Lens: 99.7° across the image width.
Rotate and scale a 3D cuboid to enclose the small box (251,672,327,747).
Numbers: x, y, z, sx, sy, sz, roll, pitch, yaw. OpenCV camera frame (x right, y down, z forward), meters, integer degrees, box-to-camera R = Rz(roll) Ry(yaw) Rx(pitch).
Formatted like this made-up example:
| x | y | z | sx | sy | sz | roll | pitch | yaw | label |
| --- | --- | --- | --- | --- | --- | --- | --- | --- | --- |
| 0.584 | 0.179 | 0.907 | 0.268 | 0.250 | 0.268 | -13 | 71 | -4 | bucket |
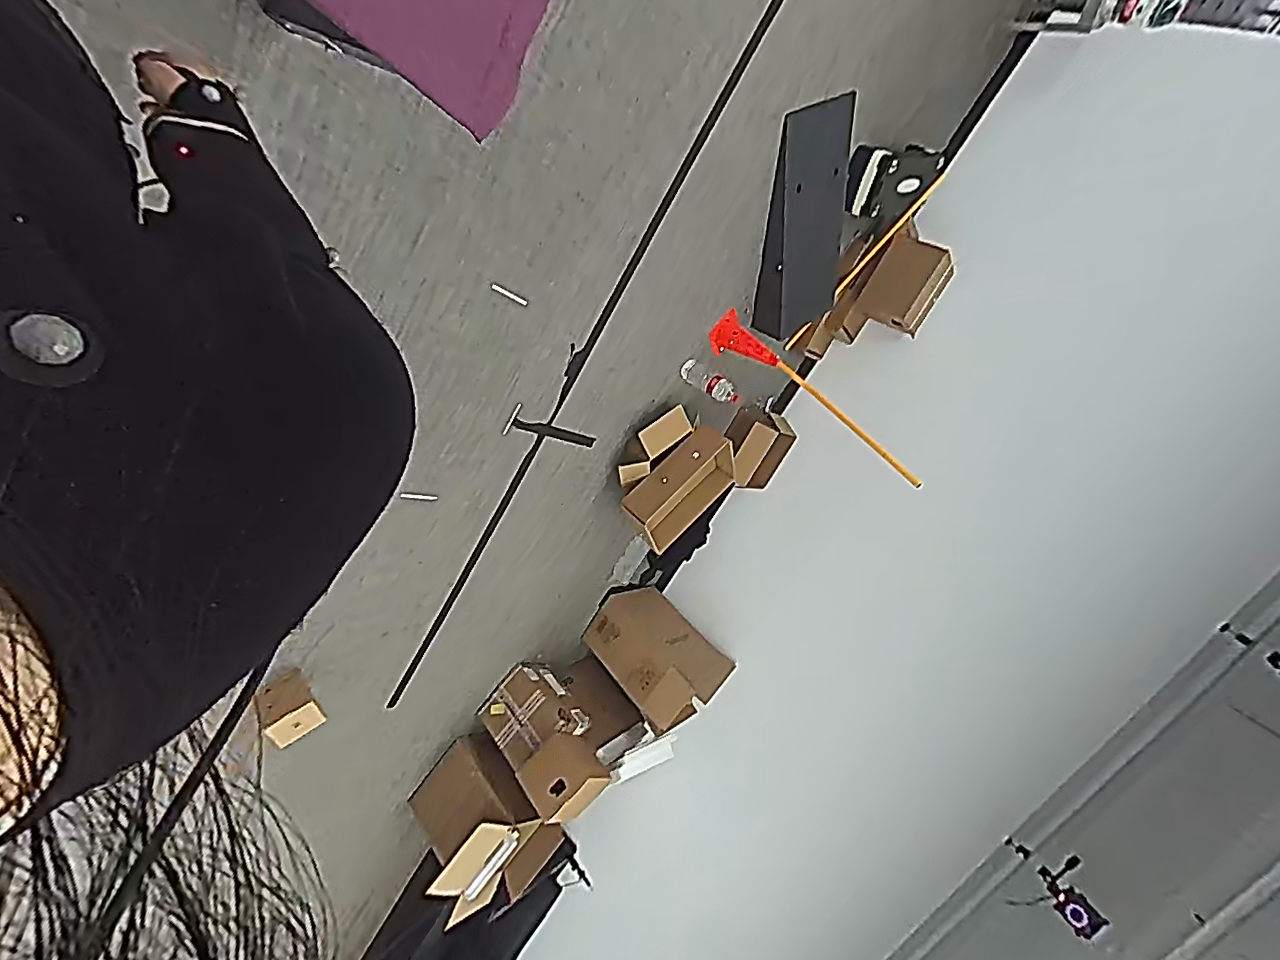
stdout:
| x | y | z | sx | sy | sz | roll | pitch | yaw | label |
| --- | --- | --- | --- | --- | --- | --- | --- | --- | --- |
| -1.314 | 0.850 | 2.022 | 0.168 | 0.176 | 0.179 | -30 | 146 | -31 | small box |
